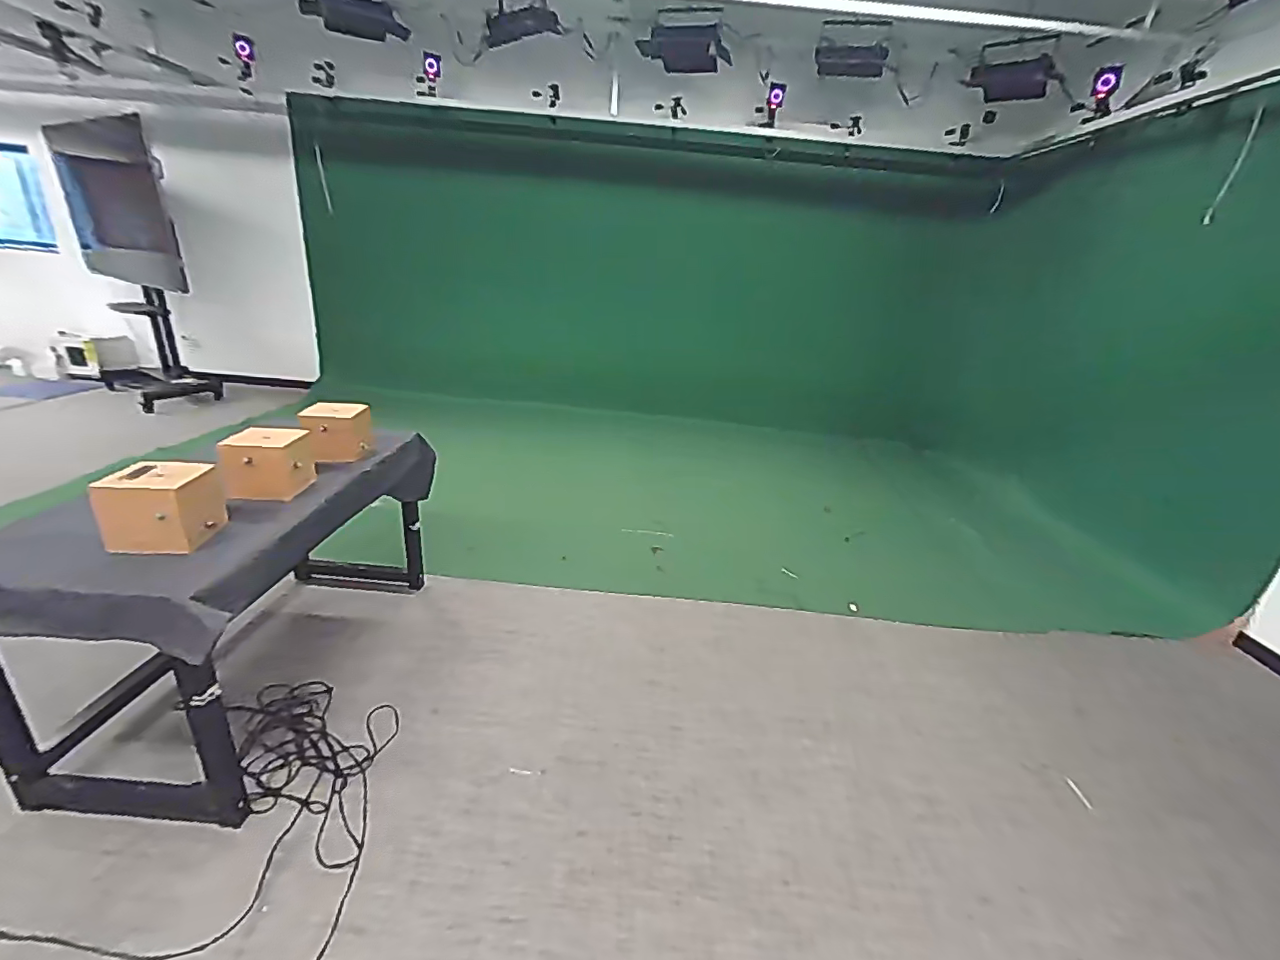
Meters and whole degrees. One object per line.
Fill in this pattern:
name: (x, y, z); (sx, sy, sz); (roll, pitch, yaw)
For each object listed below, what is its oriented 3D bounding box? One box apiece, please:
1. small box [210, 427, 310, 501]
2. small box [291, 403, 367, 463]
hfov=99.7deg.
small box: (-1.105, -0.047, 1.590); (0.179, 0.176, 0.168); (3, 22, -5)
small box: (-1.080, -0.164, 1.892); (0.179, 0.176, 0.168); (3, 23, -7)
